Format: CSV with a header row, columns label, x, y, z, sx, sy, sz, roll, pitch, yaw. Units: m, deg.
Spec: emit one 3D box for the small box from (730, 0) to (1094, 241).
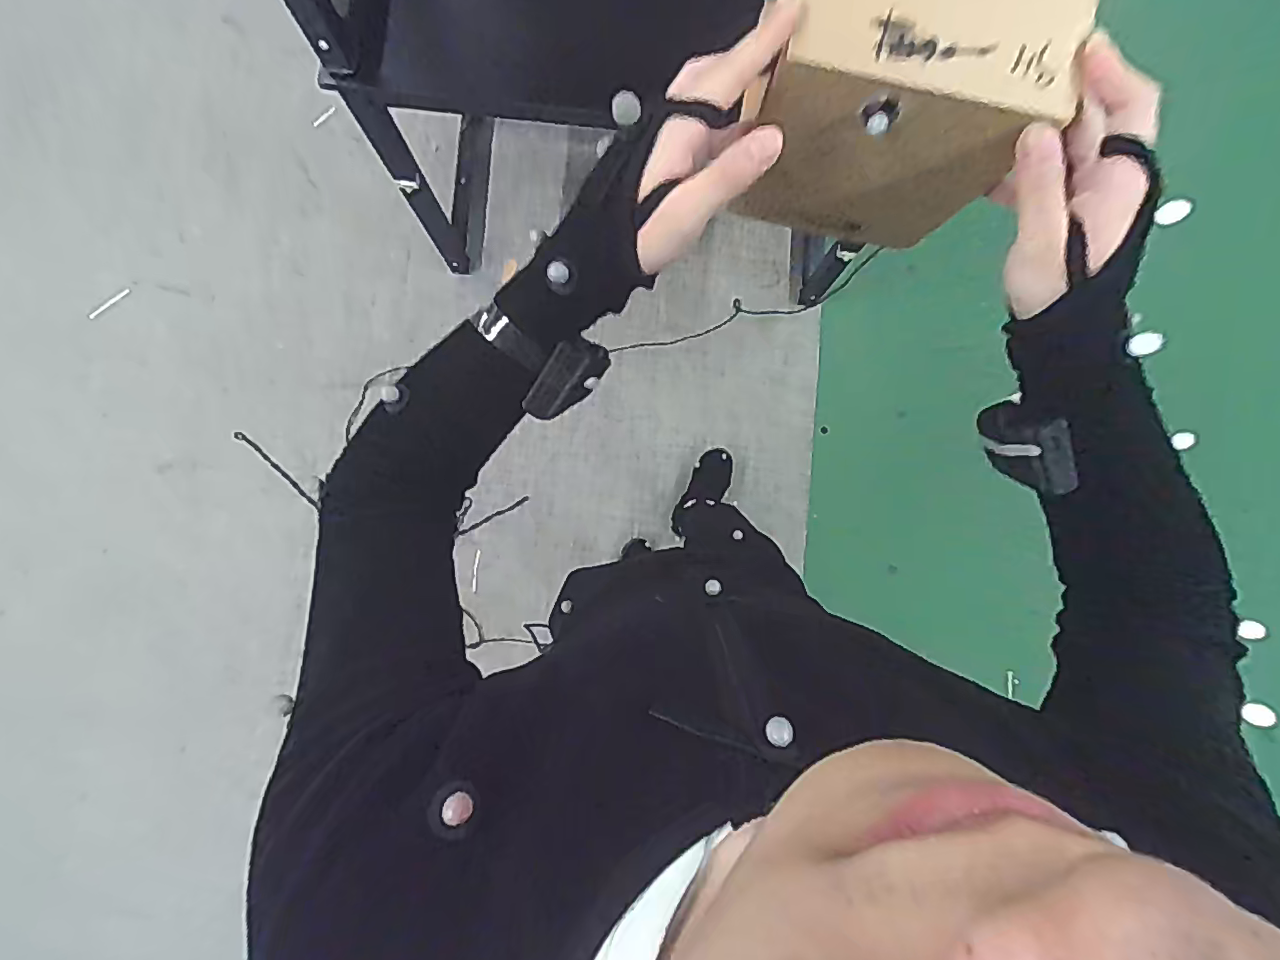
label,x,y,z,sx,sy,sz,roll,pitch,yaw
small box,0.168,-0.300,0.372,0.168,0.176,0.179,11,89,-2
